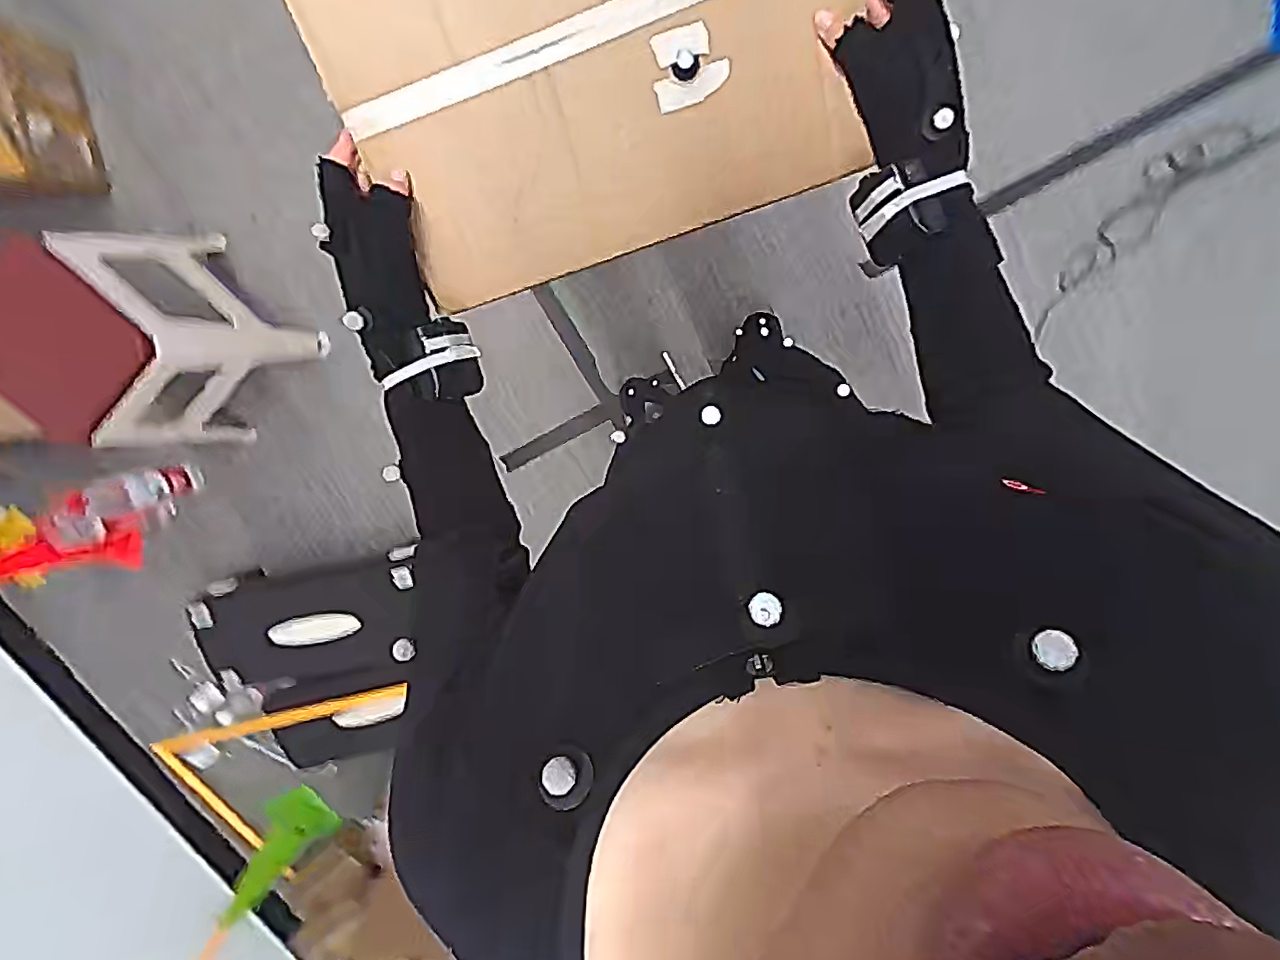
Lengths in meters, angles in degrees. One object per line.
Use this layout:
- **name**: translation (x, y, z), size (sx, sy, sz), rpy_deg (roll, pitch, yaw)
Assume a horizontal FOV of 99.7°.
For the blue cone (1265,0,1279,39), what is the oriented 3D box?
- **blue cone**: translation (1.476, -1.048, 1.024), size (0.192, 0.380, 0.193), rpy_deg (-7, 103, 4)
